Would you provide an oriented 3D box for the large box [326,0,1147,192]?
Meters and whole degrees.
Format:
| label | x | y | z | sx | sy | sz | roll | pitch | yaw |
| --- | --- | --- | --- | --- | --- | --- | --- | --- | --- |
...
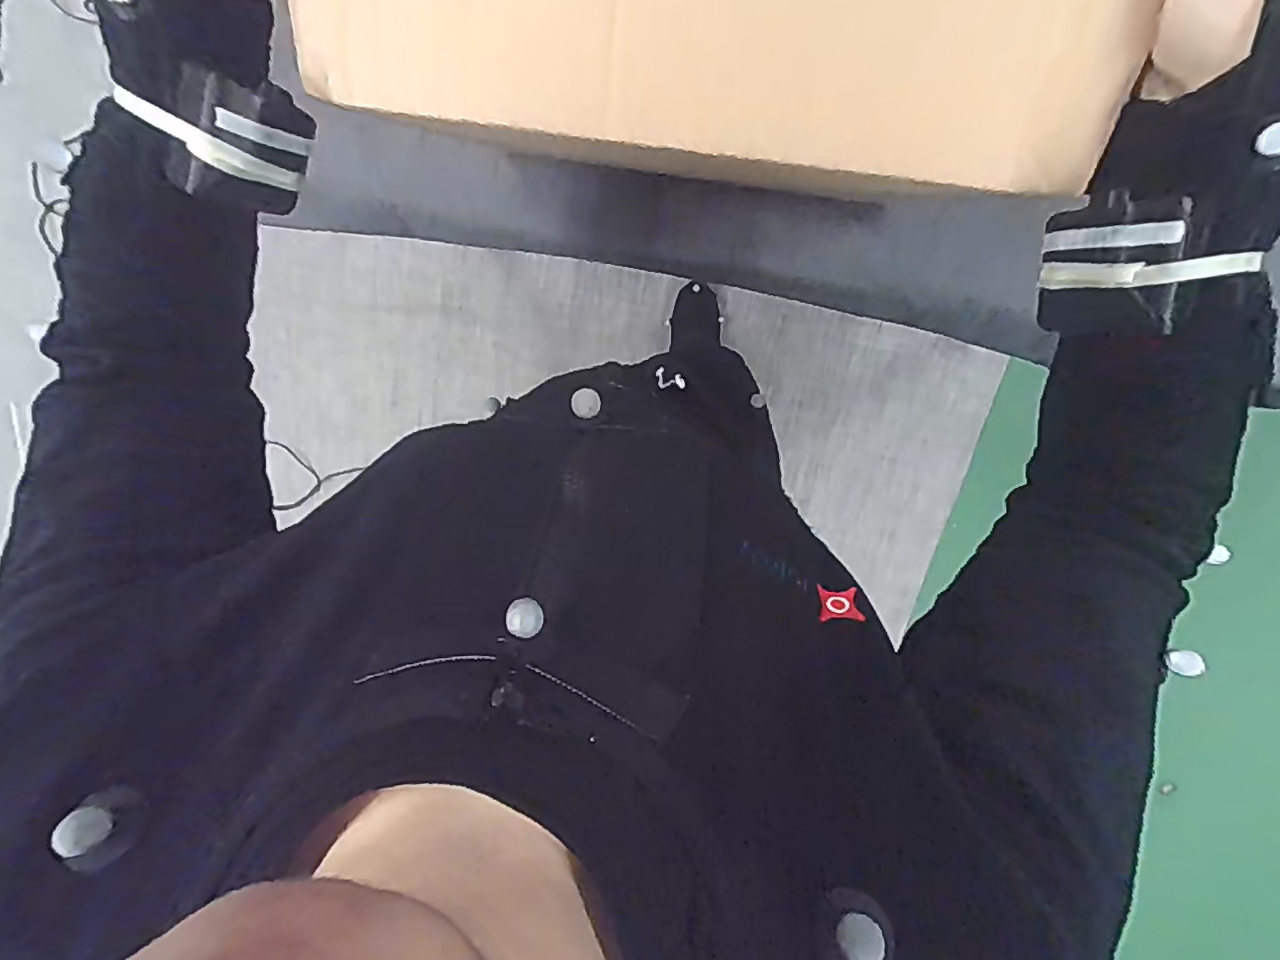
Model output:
| label | x | y | z | sx | sy | sz | roll | pitch | yaw |
| --- | --- | --- | --- | --- | --- | --- | --- | --- | --- |
| large box | 0.058 | -0.383 | 0.352 | 0.408 | 0.320 | 0.320 | 8 | 119 | 1 |
